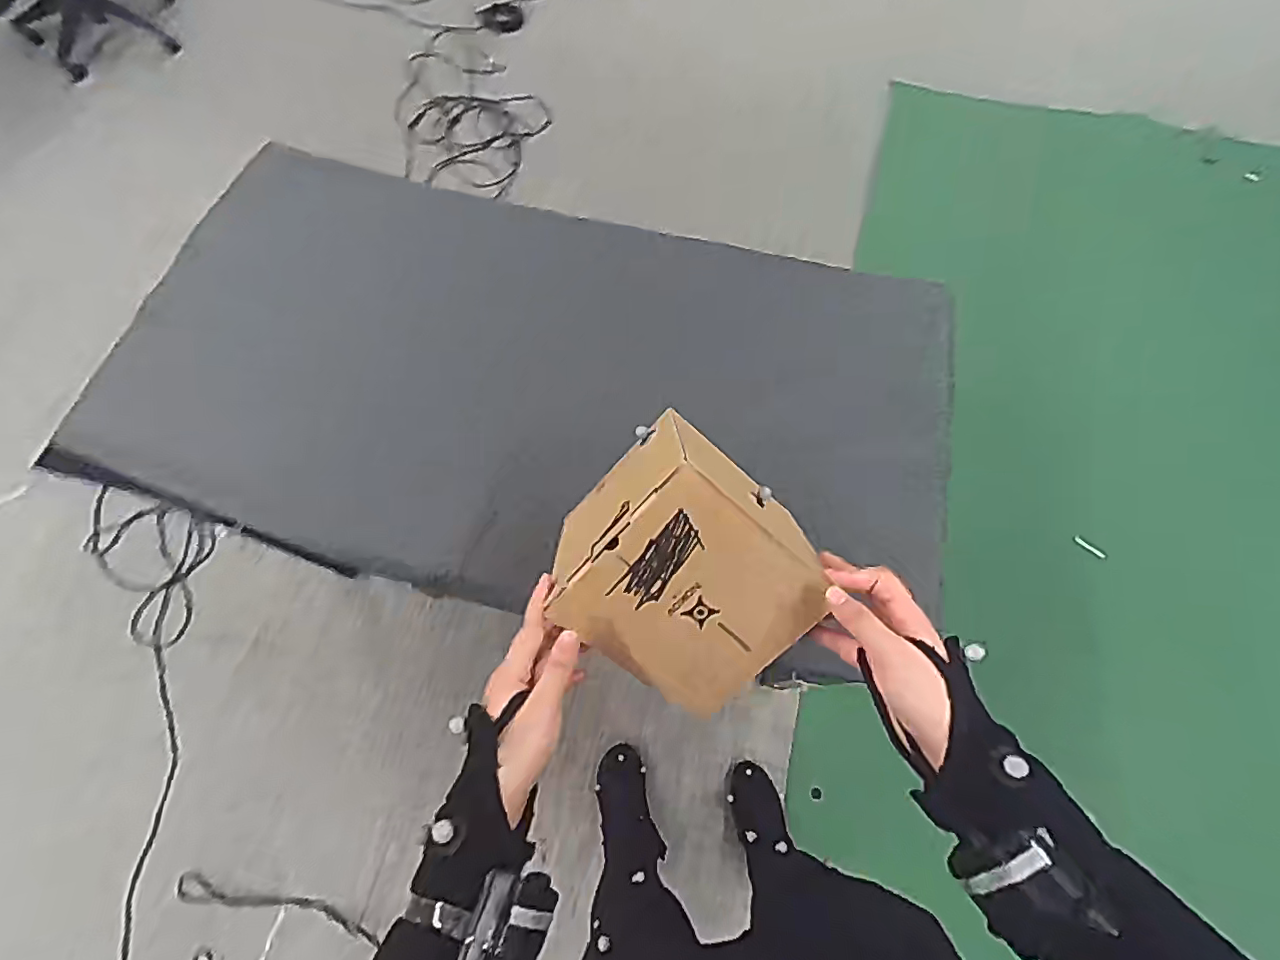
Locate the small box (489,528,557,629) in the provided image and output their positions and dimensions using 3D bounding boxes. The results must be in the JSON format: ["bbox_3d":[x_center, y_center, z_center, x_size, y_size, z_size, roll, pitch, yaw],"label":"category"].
[{"bbox_3d":[-0.229,0.247,1.316,0.179,0.176,0.168,32,72,14],"label":"small box"}]

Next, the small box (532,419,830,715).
[{"bbox_3d":[0.030,0.064,0.491,0.179,0.176,0.168,39,107,-17],"label":"small box"}]
